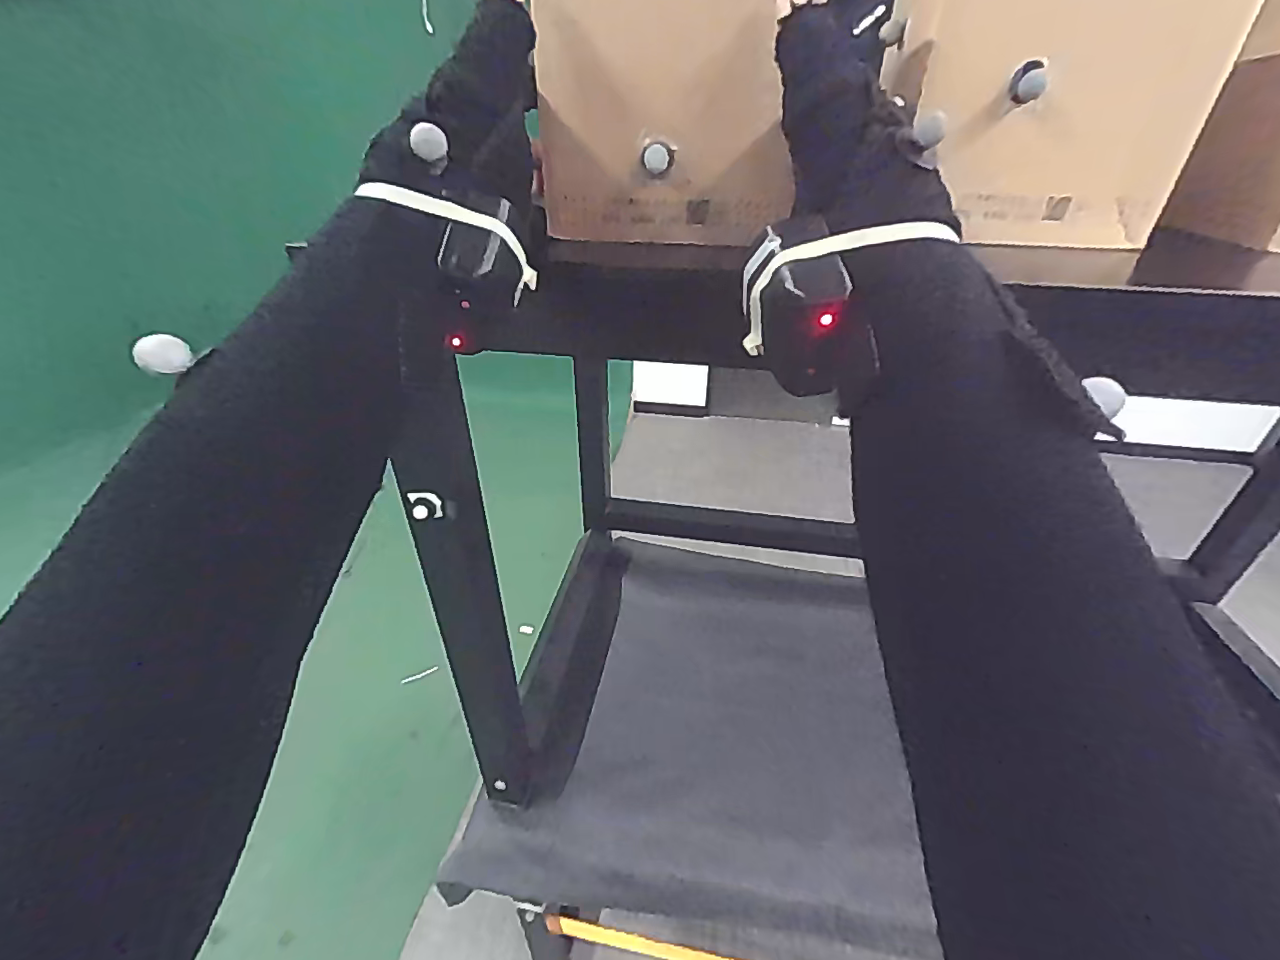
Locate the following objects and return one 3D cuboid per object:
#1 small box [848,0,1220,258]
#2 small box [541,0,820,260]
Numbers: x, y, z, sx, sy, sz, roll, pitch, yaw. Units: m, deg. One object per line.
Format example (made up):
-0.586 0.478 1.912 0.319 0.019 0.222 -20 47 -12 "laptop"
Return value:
0.267 -0.272 0.411 0.168 0.176 0.179 6 33 9 "small box"
0.028 -0.273 0.403 0.168 0.176 0.179 4 33 6 "small box"
